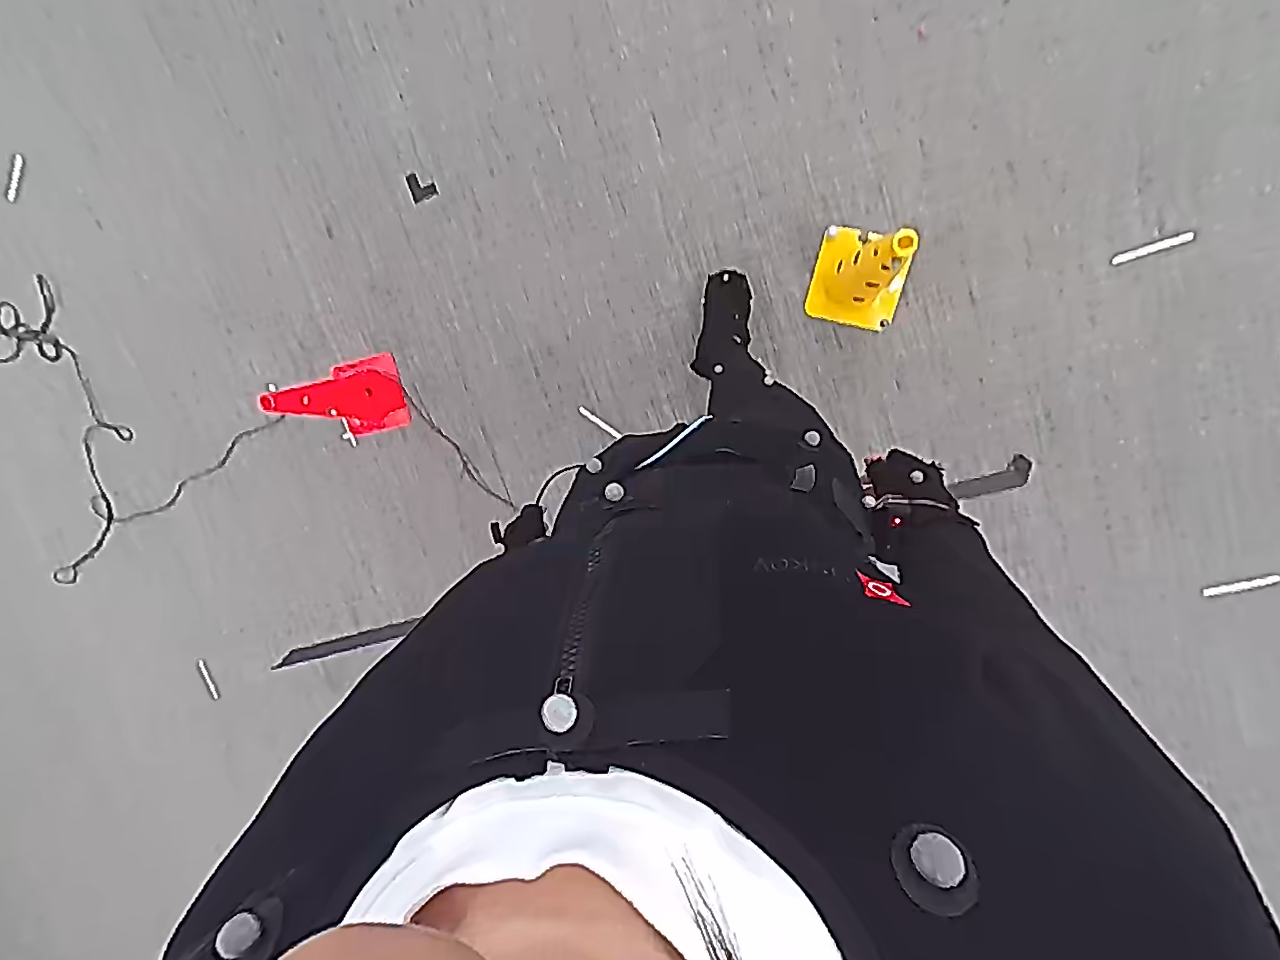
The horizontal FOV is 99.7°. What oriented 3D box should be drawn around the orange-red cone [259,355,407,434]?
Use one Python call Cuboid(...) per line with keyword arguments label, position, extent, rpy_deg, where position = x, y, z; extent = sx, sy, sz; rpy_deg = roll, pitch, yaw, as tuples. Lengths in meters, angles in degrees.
Cuboid(label="orange-red cone", position=(-0.779, -0.202, 1.338), extent=(0.199, 0.360, 0.198), rpy_deg=(-9, 100, 10))
